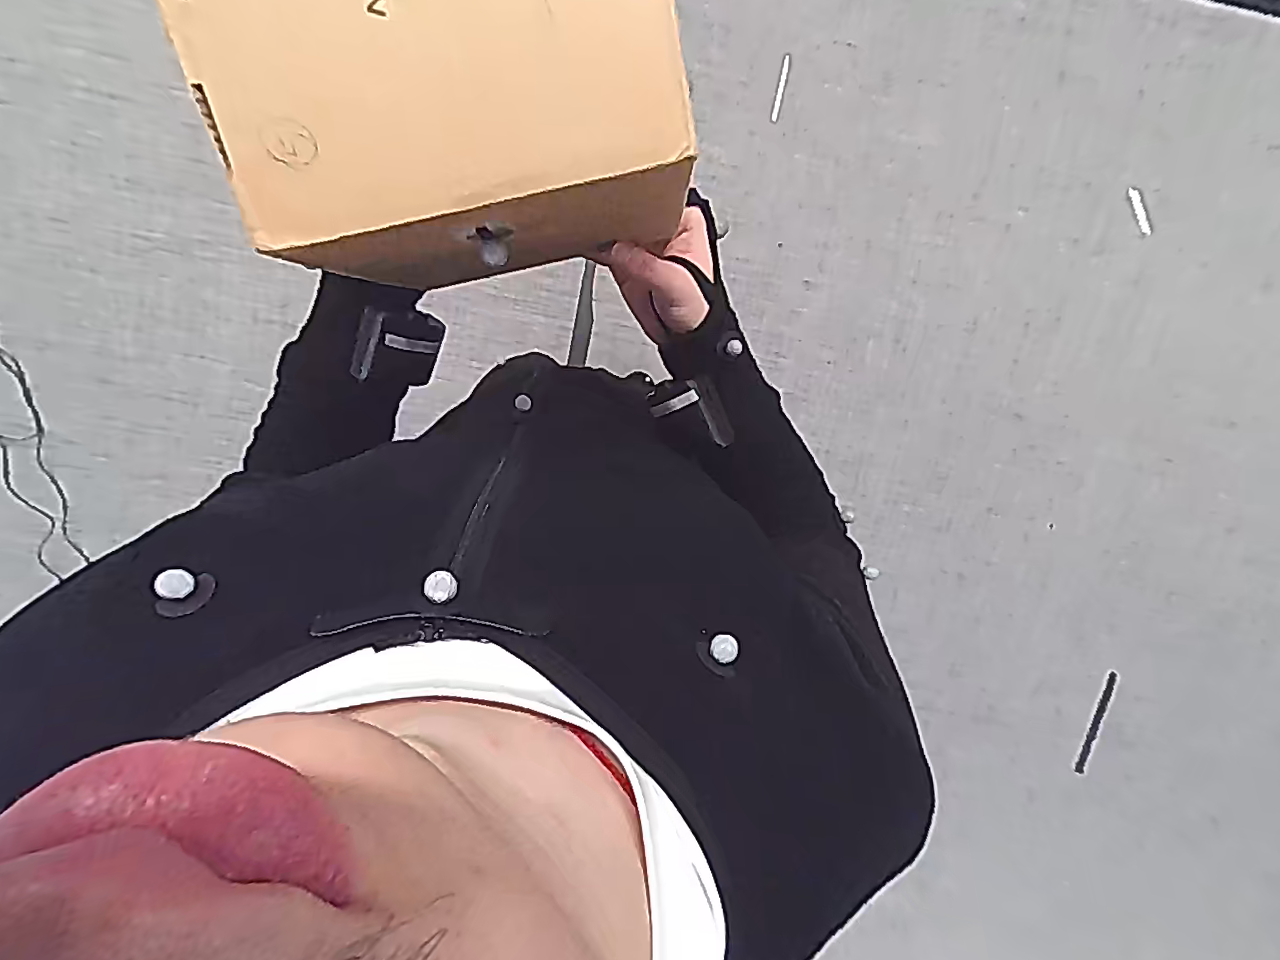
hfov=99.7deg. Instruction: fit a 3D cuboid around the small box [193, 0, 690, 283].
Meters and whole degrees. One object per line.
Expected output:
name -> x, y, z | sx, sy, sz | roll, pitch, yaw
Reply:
small box -> -0.077, -0.204, 0.272 | 0.179, 0.176, 0.168 | -11, 105, 3
